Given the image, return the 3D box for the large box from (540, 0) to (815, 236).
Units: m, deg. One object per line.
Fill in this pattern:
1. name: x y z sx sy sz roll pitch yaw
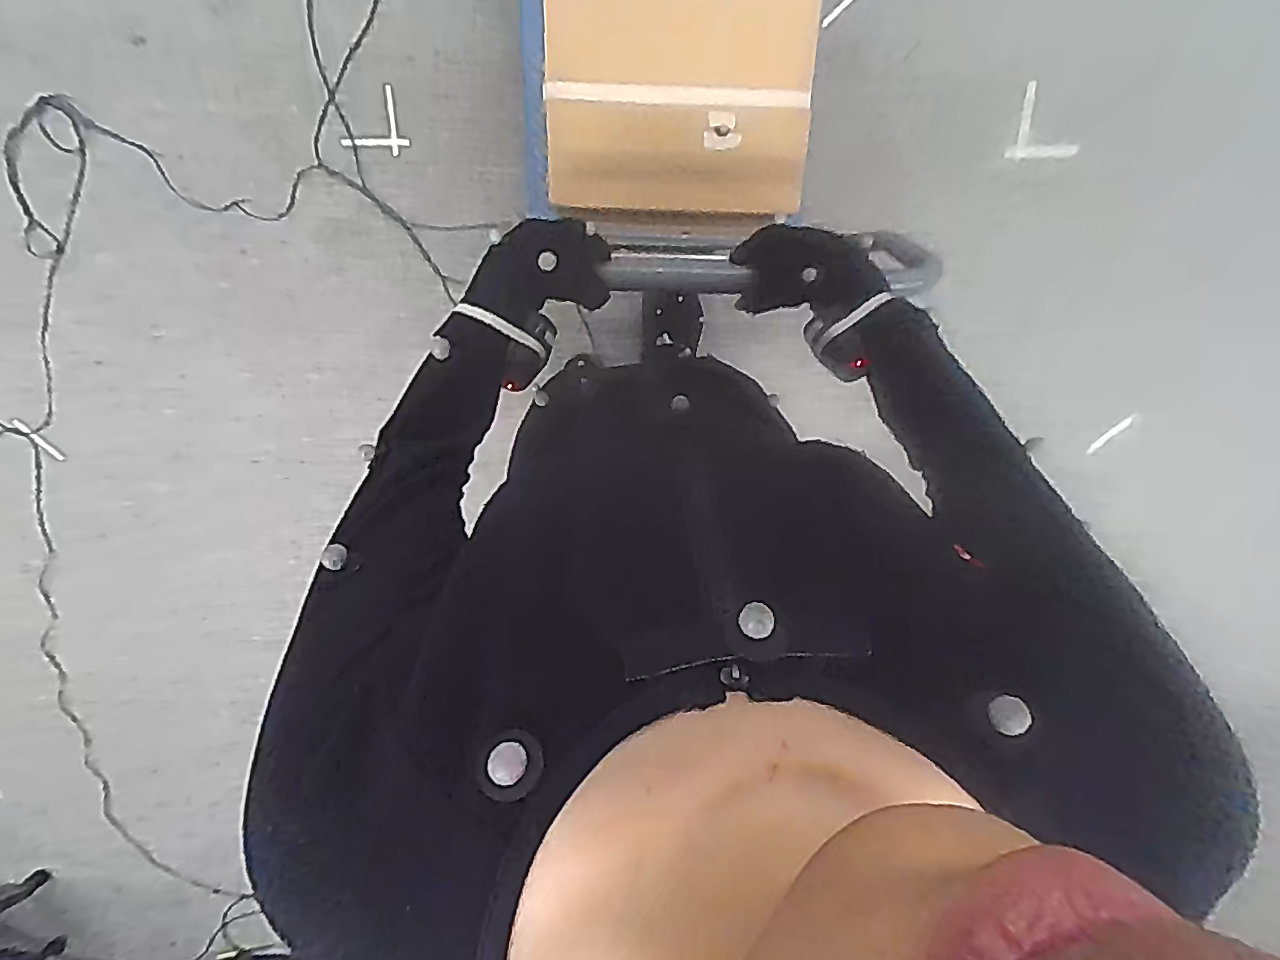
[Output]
1. large box: 0.046 -0.618 0.958 0.408 0.320 0.320 0 109 -4
